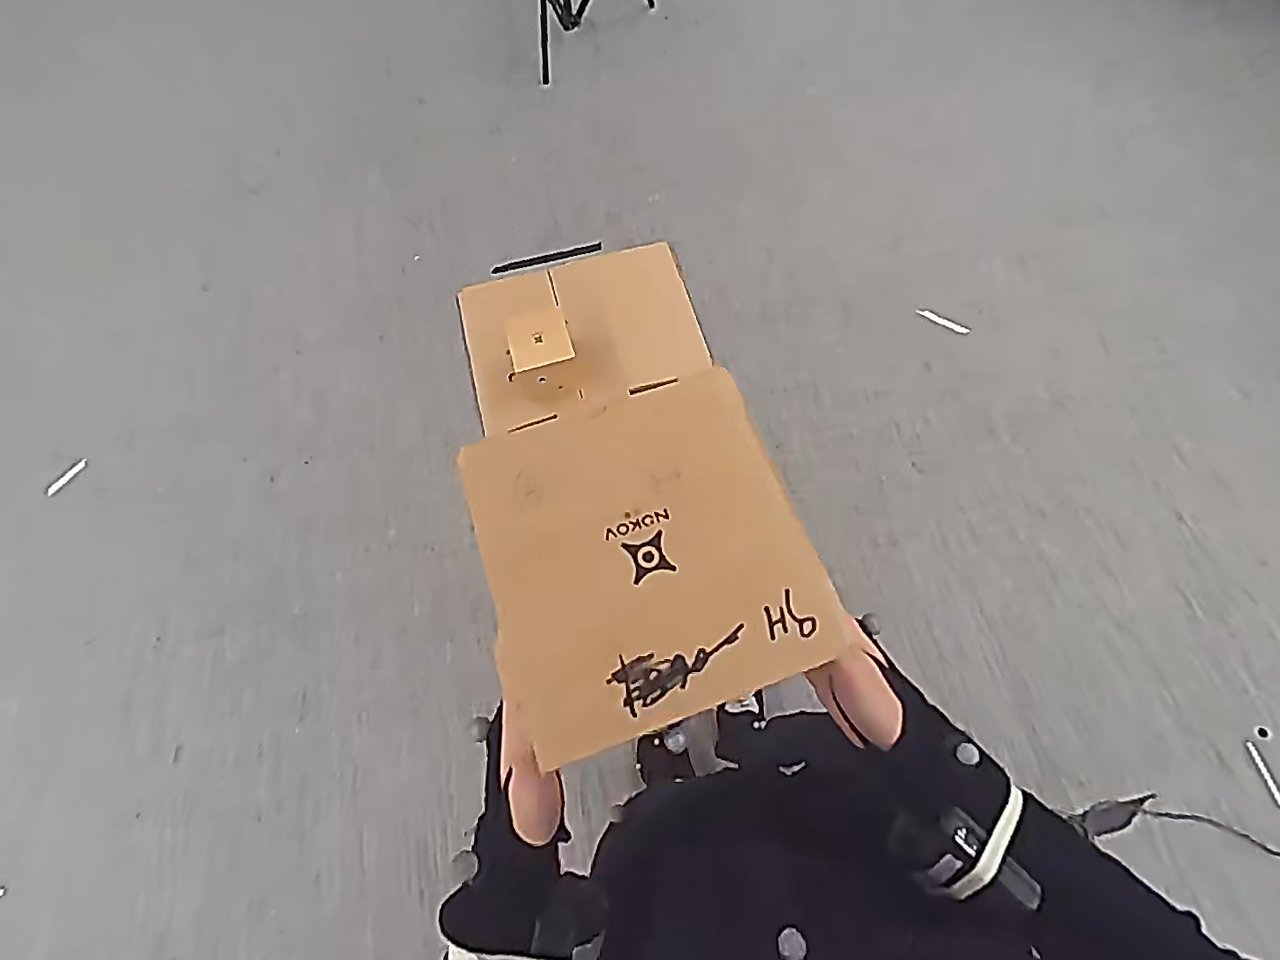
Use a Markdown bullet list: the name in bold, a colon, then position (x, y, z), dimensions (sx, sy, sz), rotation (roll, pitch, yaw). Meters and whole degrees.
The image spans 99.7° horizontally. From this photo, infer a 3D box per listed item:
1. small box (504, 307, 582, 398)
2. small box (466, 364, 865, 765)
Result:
- **small box**: position (-0.269, -0.352, 1.533), dimensions (0.168, 0.176, 0.179), rotation (-17, 71, -4)
- **small box**: position (0.007, 0.059, 0.355), dimensions (0.168, 0.176, 0.179), rotation (-19, 70, -5)
